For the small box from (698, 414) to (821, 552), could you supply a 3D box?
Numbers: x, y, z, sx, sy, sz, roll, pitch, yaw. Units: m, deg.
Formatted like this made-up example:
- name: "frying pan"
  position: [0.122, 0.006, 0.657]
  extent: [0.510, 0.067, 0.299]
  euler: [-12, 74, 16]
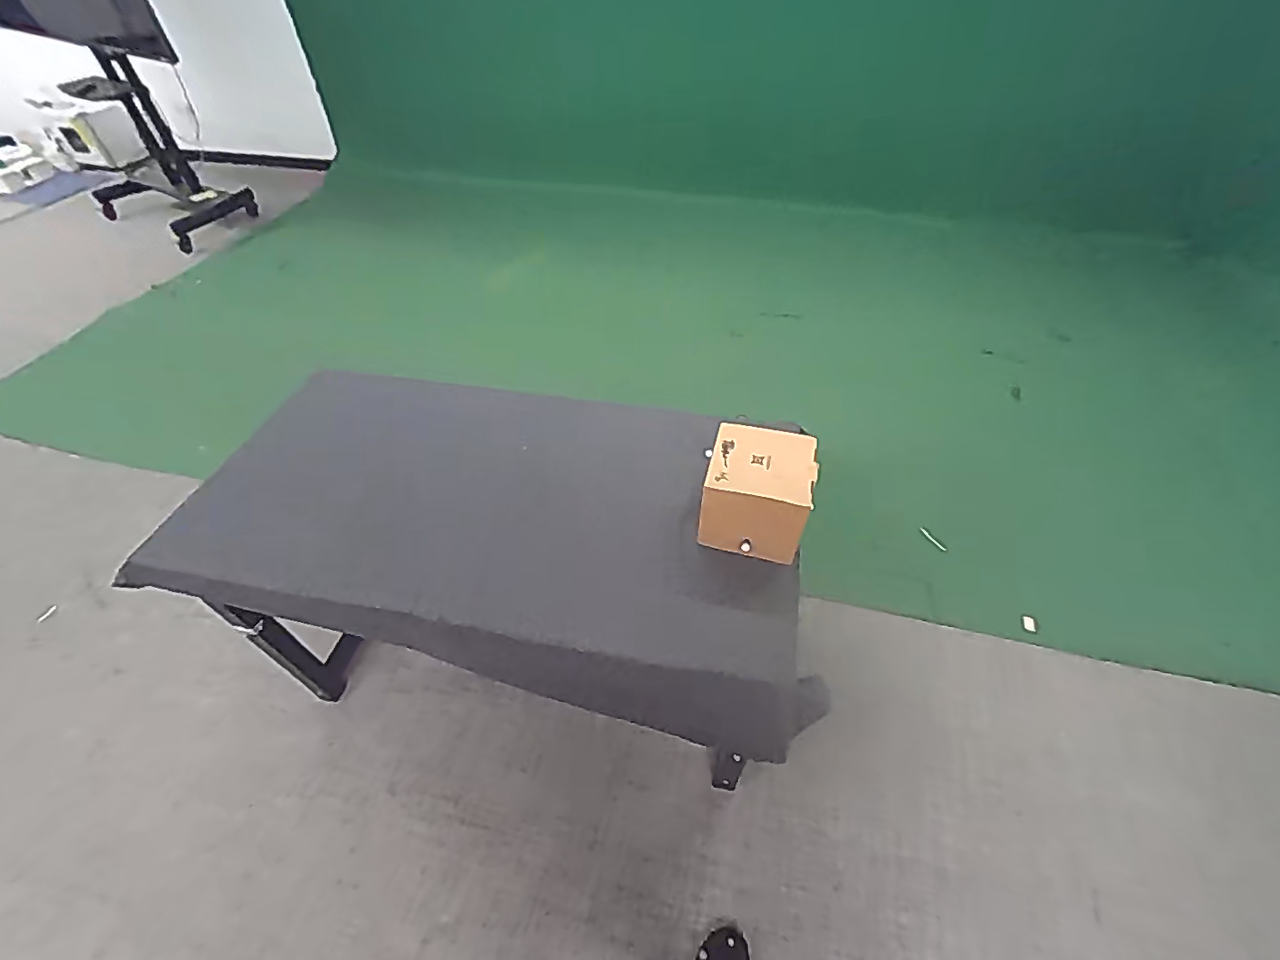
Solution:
- name: "small box"
  position: [0.212, 0.010, 0.979]
  extent: [0.179, 0.176, 0.168]
  euler: [13, 50, 10]
